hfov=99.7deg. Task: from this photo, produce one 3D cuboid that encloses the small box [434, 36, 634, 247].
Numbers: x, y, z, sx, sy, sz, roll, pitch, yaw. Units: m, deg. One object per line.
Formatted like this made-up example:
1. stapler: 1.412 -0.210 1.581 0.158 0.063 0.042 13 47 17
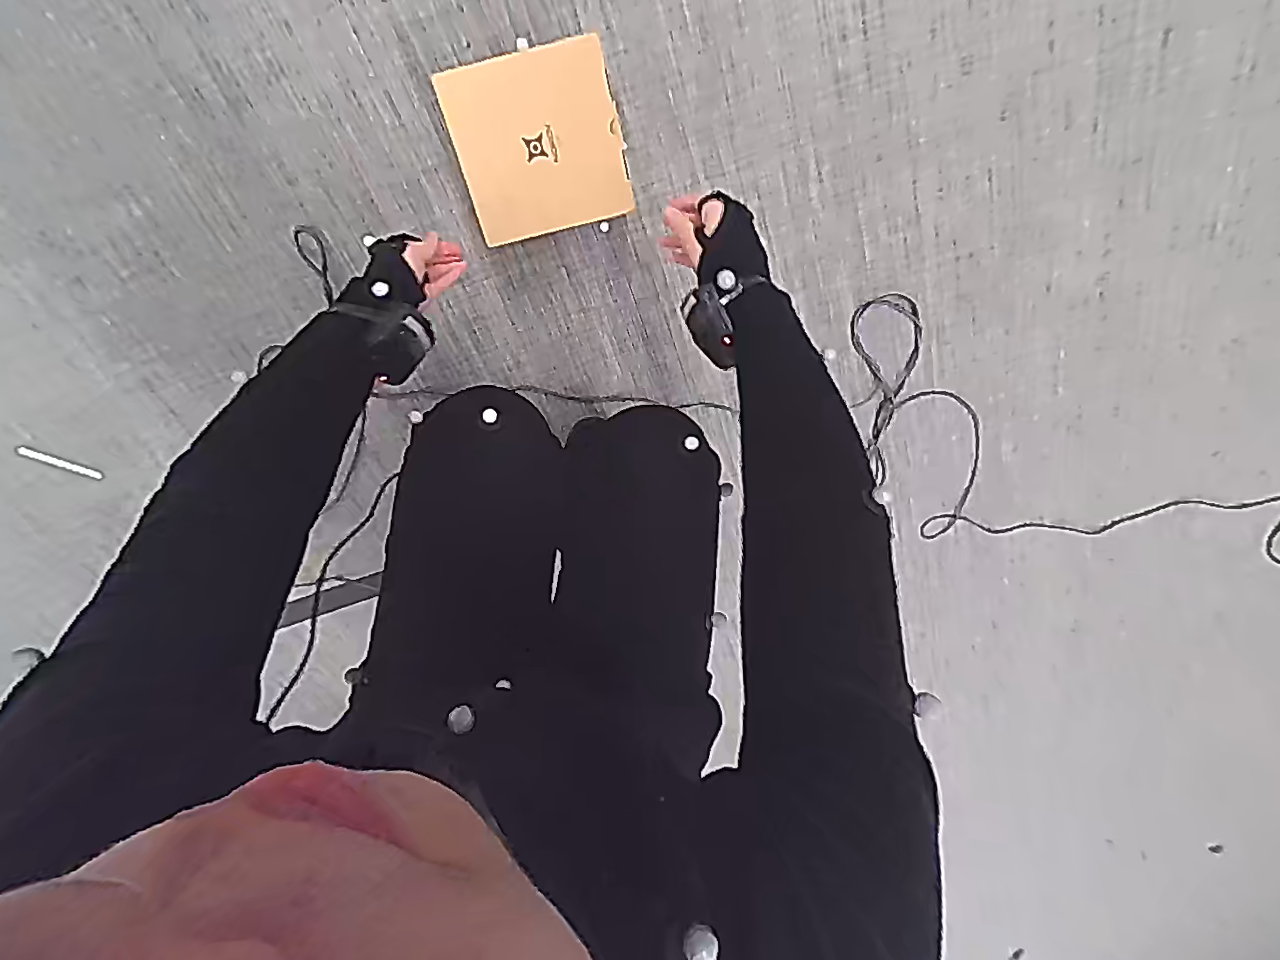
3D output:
1. small box: -0.114 -0.388 0.645 0.179 0.176 0.168 -14 118 1
